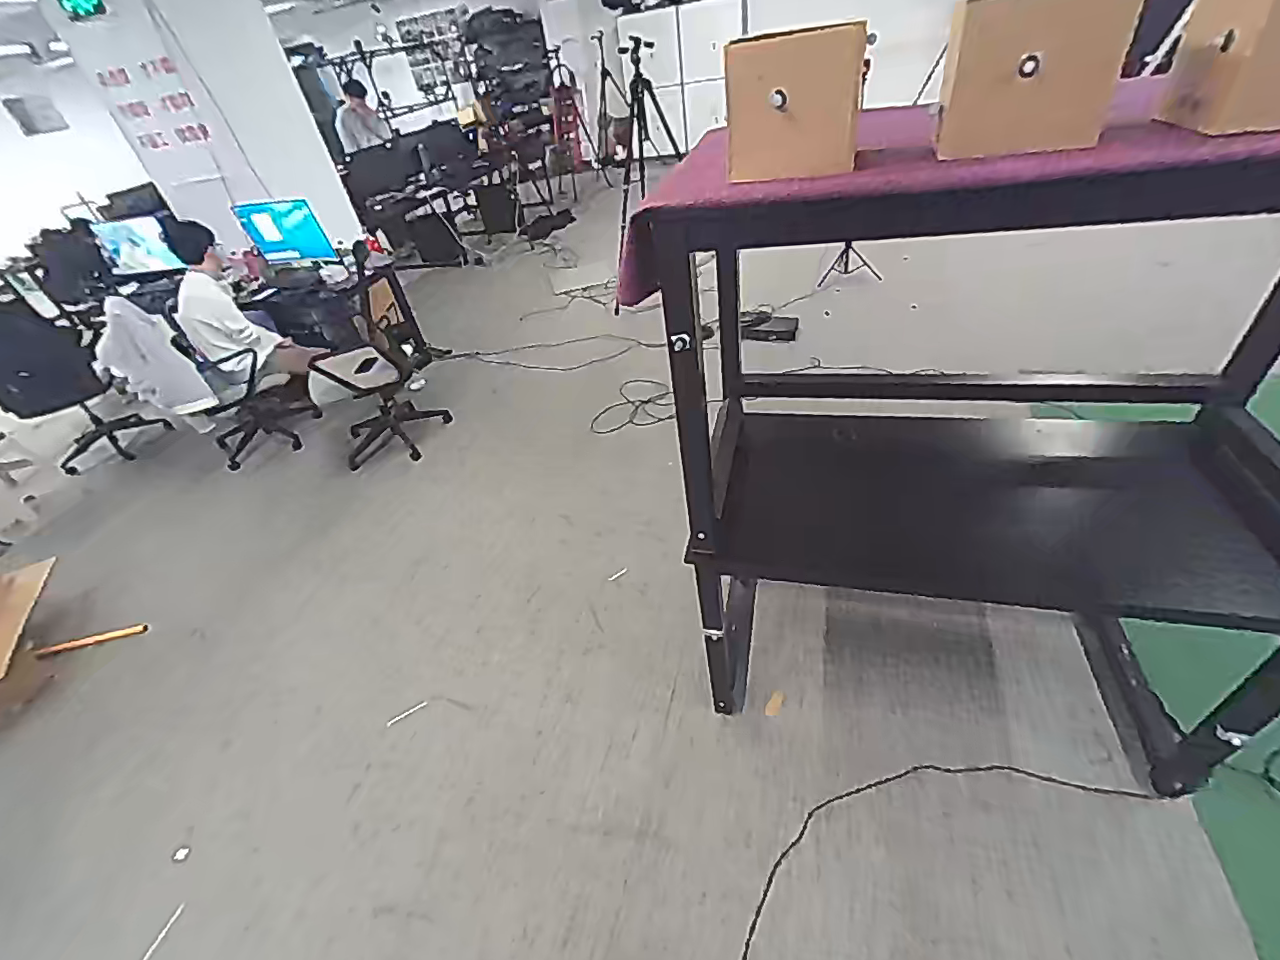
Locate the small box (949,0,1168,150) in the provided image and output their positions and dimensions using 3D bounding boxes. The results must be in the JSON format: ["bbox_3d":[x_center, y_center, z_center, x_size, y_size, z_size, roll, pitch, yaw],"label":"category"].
[{"bbox_3d":[0.502,-0.525,0.669,0.179,0.176,0.168,8,42,21],"label":"small box"}]

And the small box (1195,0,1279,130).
[{"bbox_3d":[0.761,-0.490,0.581,0.179,0.176,0.168,6,42,18],"label":"small box"}]

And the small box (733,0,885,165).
[{"bbox_3d":[0.234,-0.550,0.750,0.179,0.176,0.168,7,43,19],"label":"small box"}]
